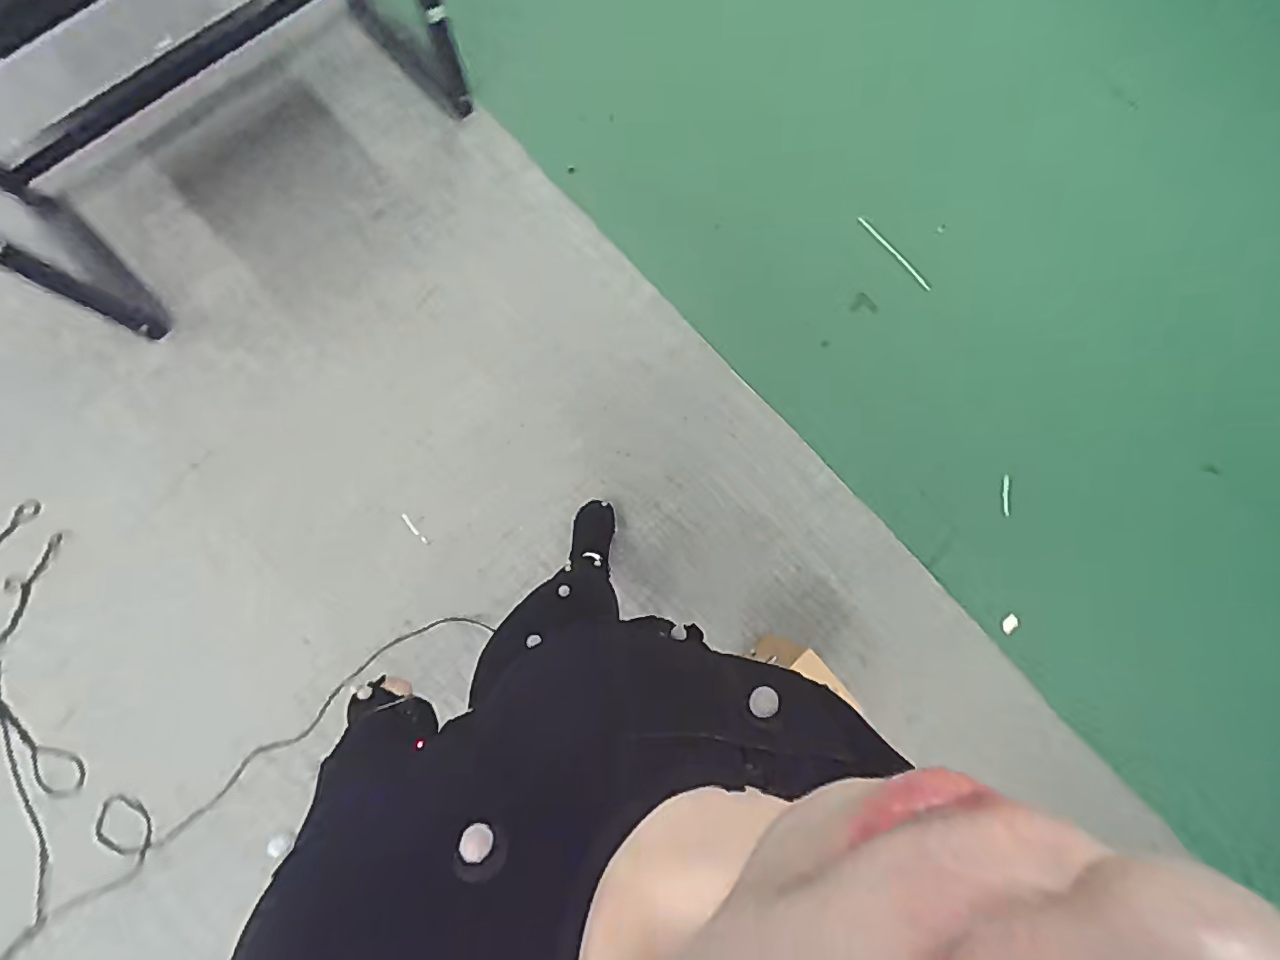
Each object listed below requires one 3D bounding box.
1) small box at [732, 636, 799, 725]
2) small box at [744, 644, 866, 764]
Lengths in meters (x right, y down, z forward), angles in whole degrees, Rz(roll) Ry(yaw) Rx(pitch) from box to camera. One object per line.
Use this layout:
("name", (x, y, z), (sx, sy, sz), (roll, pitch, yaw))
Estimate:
("small box", (0.360, 0.521, 1.392), (0.168, 0.176, 0.179), (-37, 84, -8))
("small box", (0.365, 0.497, 1.231), (0.168, 0.176, 0.179), (-40, 84, -9))
